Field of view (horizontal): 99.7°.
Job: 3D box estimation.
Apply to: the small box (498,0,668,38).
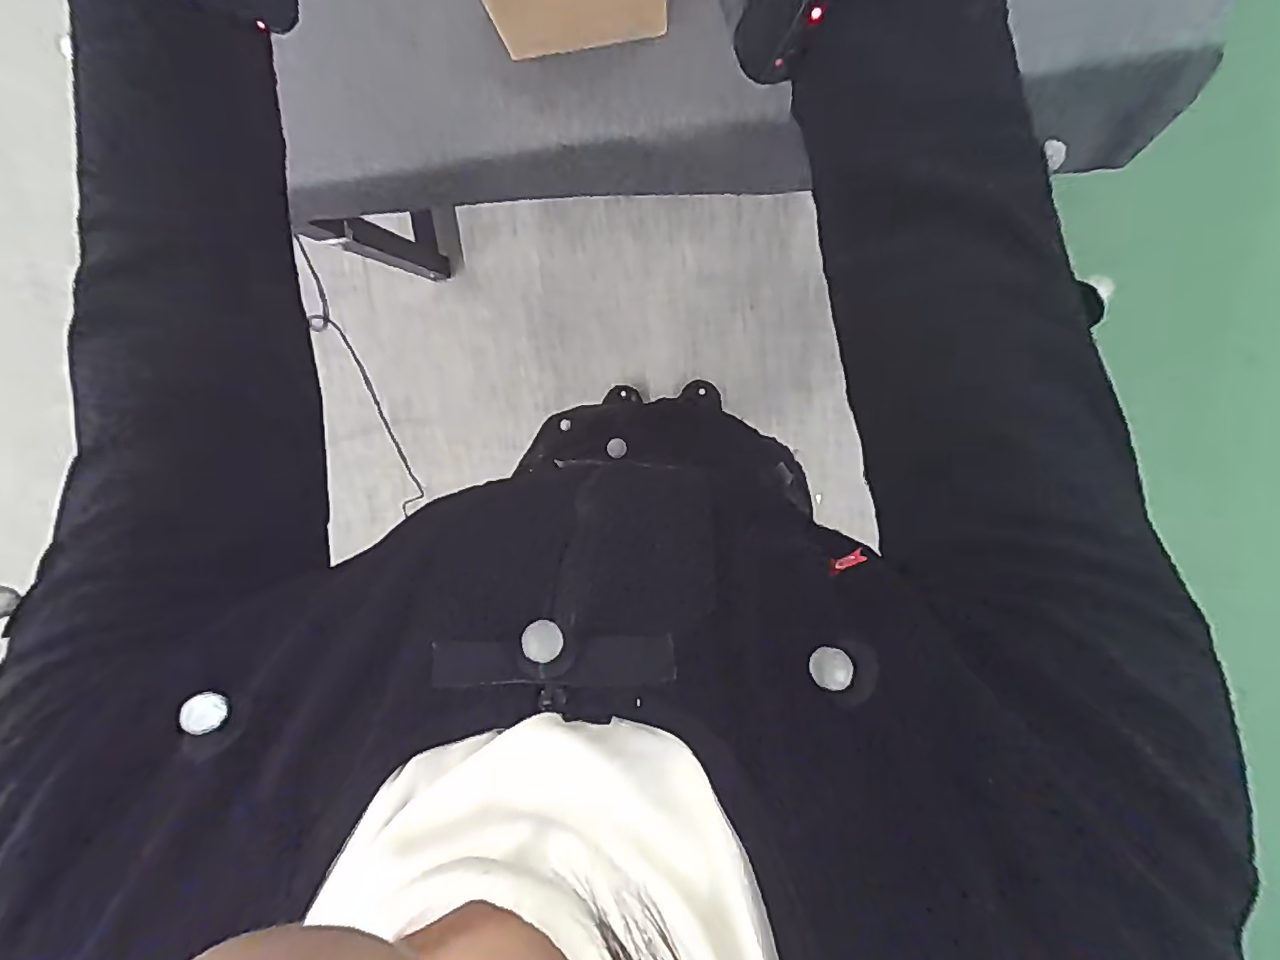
[{"bbox_3d":[-0.069,-0.557,0.504,0.179,0.176,0.168,-5,102,5],"label":"small box"}]
